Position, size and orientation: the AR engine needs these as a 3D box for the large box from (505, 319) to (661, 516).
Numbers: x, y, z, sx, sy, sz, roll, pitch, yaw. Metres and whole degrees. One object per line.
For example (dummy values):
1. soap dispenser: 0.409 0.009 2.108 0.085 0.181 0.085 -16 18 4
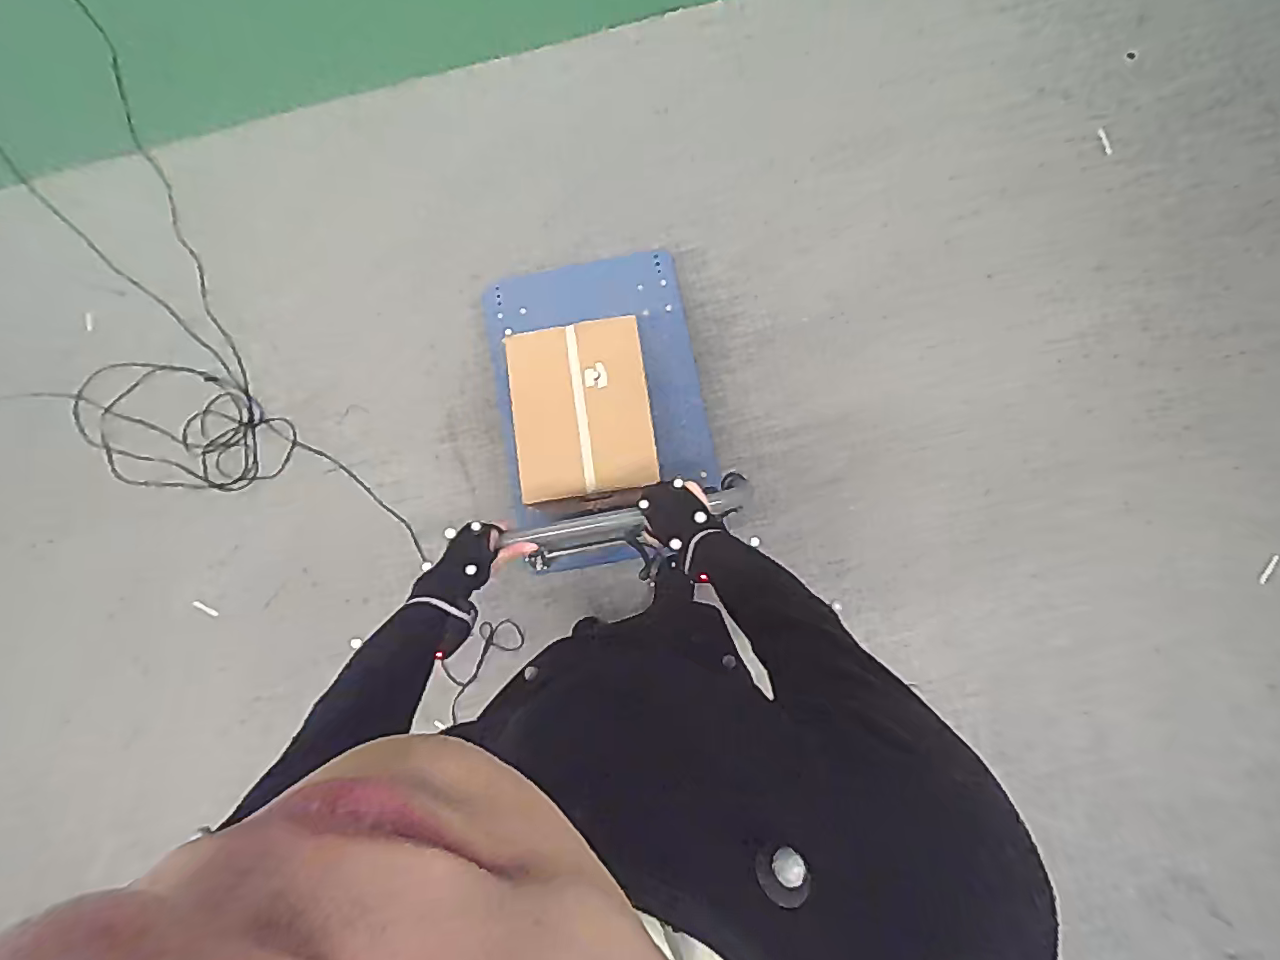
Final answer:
1. large box: -0.130 -0.138 1.381 0.320 0.320 0.408 -8 81 1
